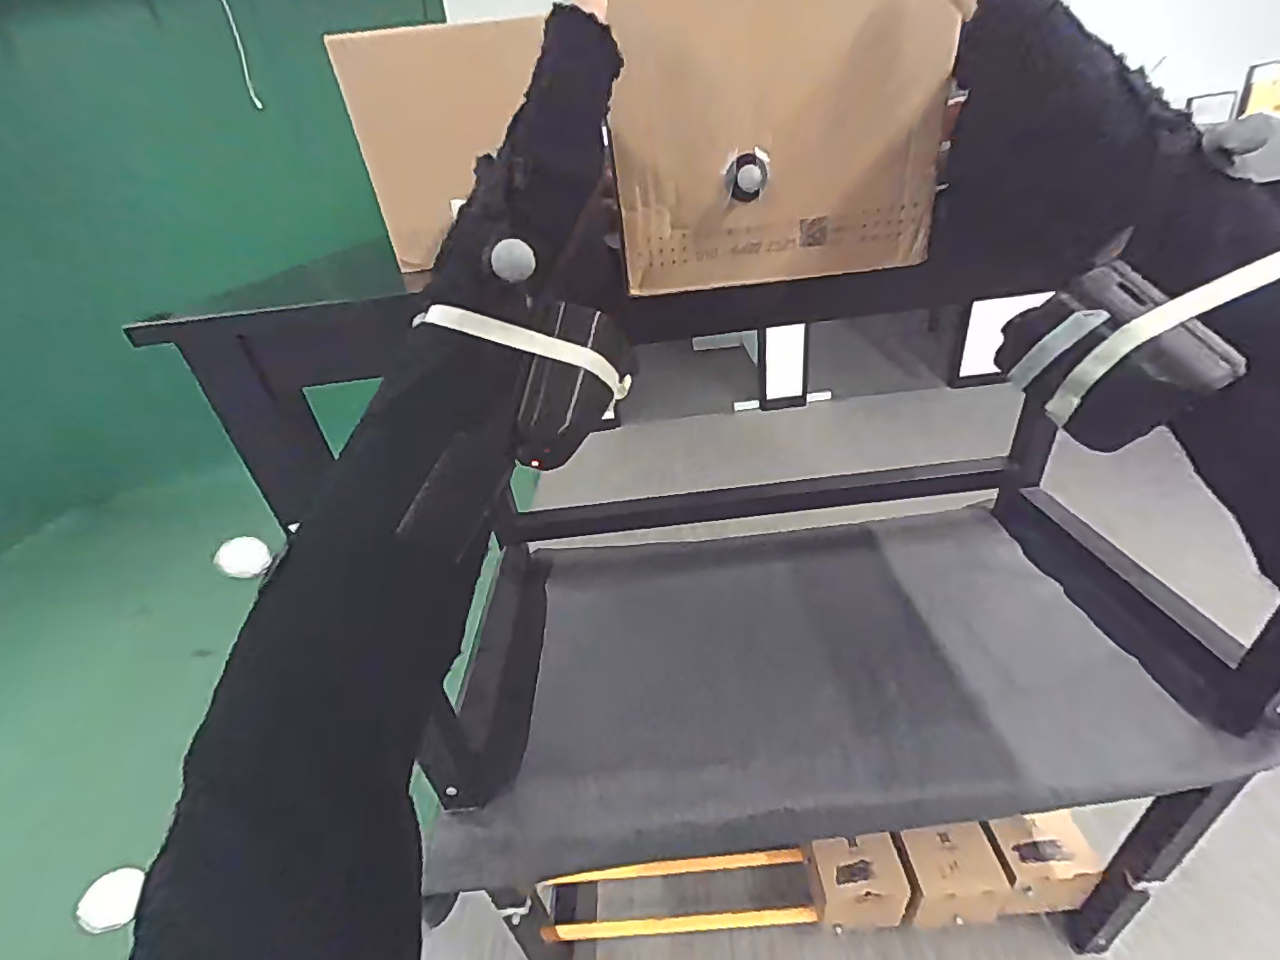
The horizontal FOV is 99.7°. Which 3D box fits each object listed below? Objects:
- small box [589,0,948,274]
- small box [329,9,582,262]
[{"bbox_3d":[0.062,-0.234,0.332,0.168,0.176,0.179,-5,33,4],"label":"small box"},{"bbox_3d":[-0.158,-0.316,0.516,0.168,0.176,0.179,-13,33,-7],"label":"small box"}]
